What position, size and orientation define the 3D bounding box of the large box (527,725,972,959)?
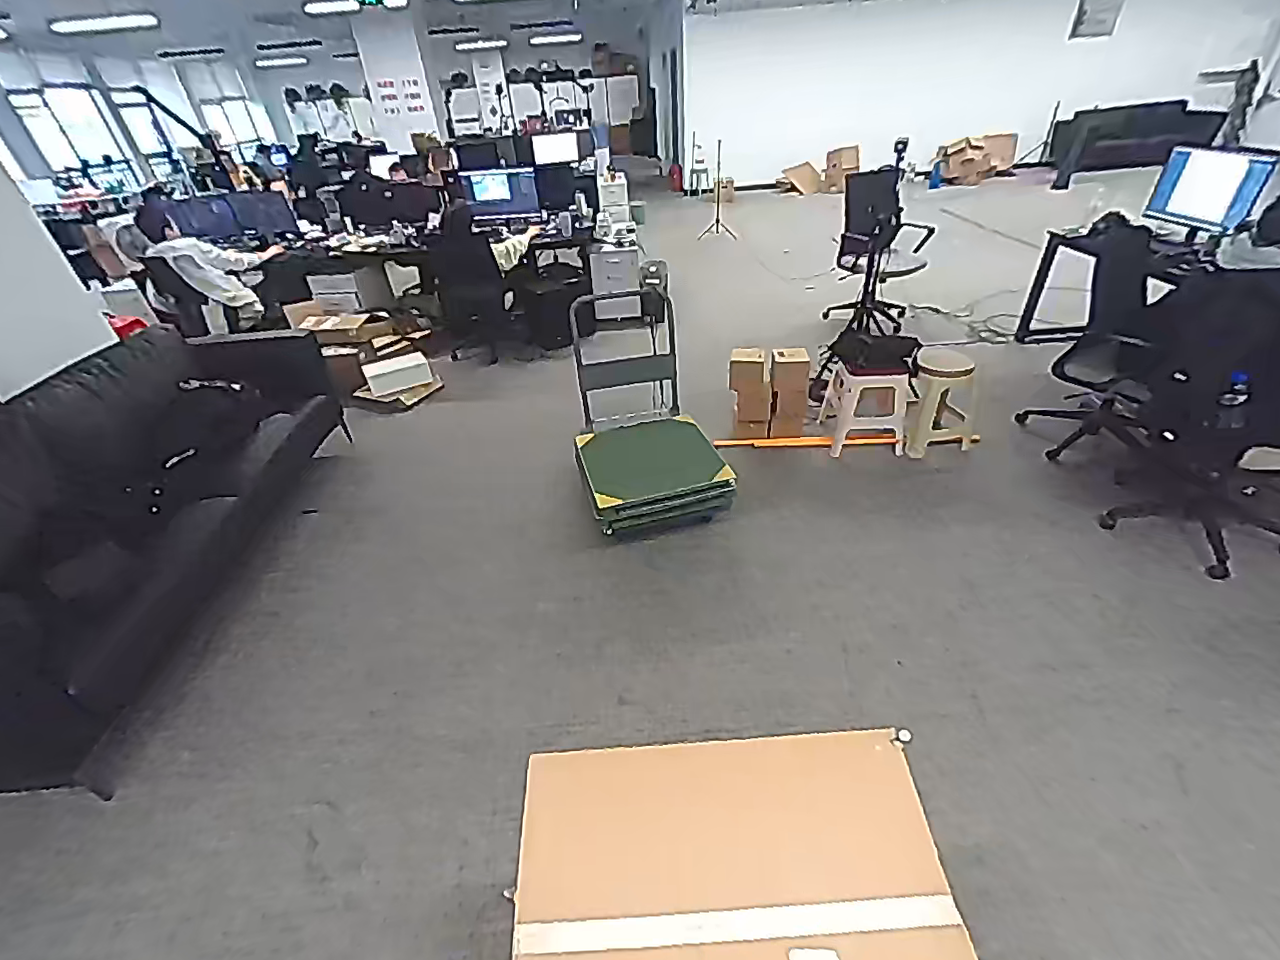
[{"bbox_3d":[0.100,0.505,0.613,0.408,0.320,0.320,-5,49,1],"label":"large box"}]
